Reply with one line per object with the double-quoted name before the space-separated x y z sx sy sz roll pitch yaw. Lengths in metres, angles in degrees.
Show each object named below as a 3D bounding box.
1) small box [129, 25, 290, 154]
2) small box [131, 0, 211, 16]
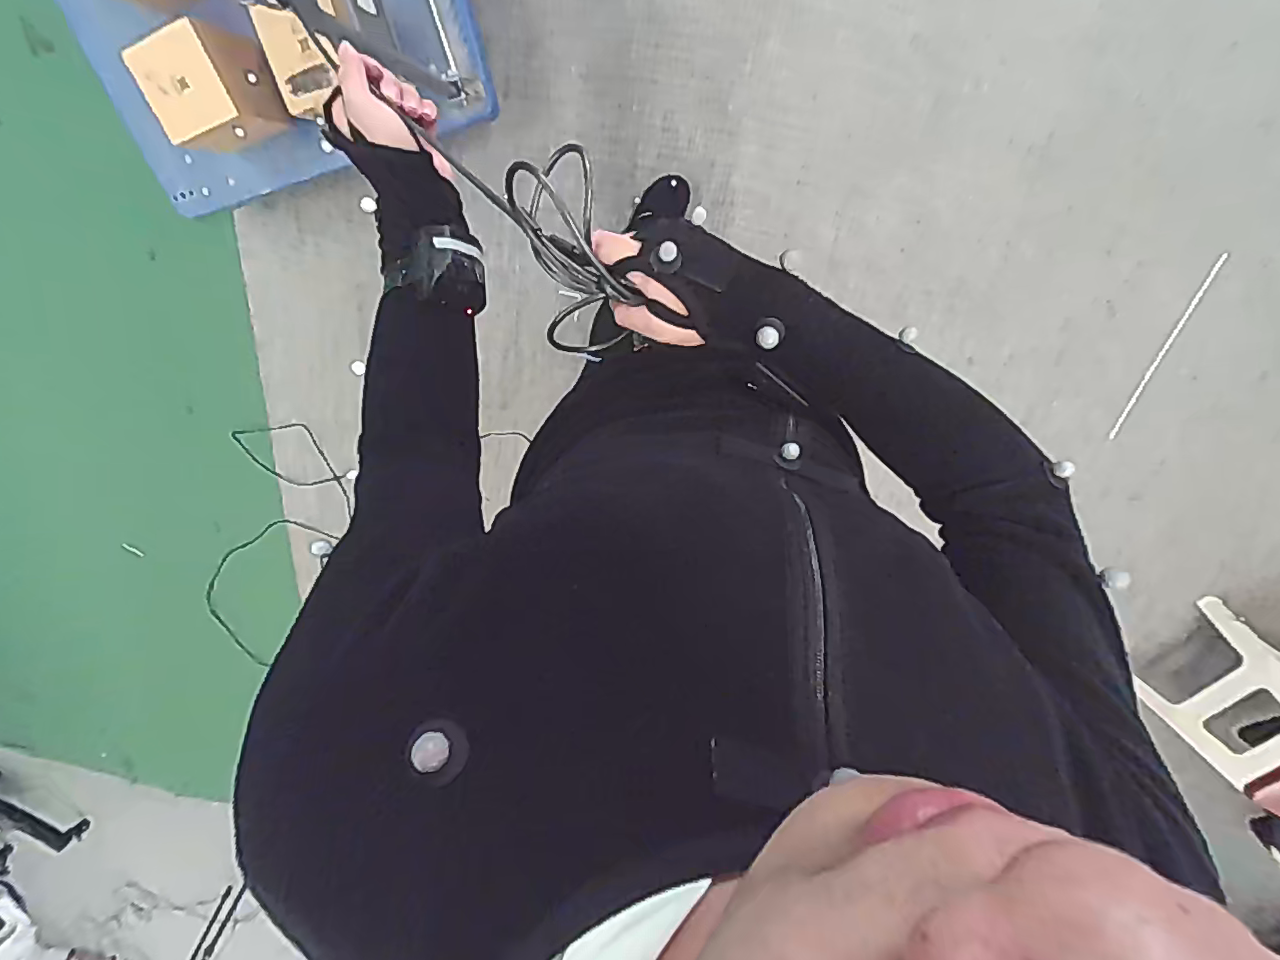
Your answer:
"small box" -0.885 -0.808 1.139 0.179 0.176 0.168 -13 114 14
"small box" -0.945 -1.032 1.030 0.179 0.176 0.168 -11 116 12
